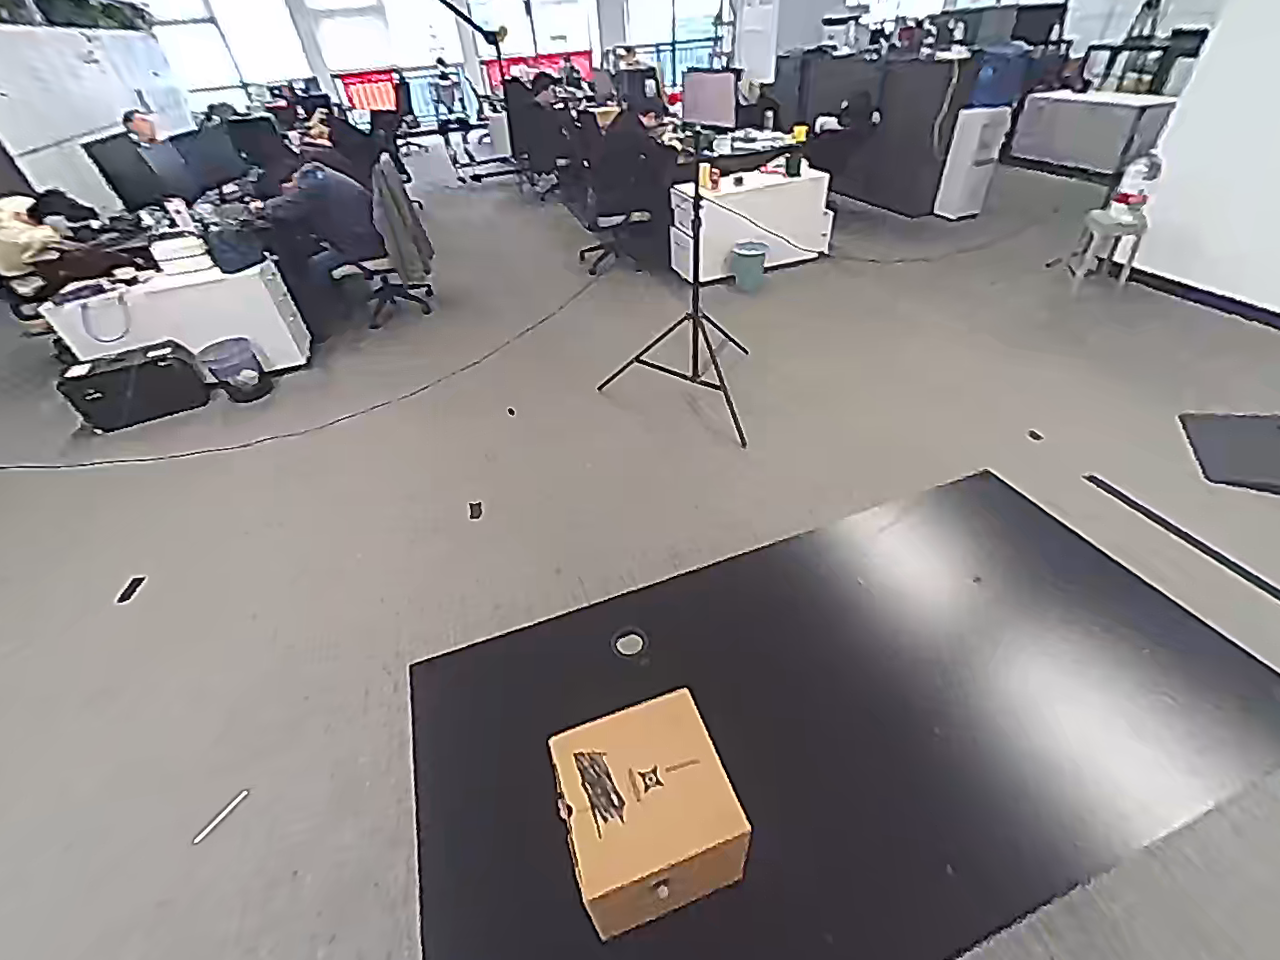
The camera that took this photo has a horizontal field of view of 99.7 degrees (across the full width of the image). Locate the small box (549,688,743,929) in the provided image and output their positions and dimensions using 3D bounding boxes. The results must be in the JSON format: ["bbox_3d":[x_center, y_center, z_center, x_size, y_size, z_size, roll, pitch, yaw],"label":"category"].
[{"bbox_3d":[0.006,0.386,0.639,0.179,0.176,0.168,-15,41,-13],"label":"small box"}]
